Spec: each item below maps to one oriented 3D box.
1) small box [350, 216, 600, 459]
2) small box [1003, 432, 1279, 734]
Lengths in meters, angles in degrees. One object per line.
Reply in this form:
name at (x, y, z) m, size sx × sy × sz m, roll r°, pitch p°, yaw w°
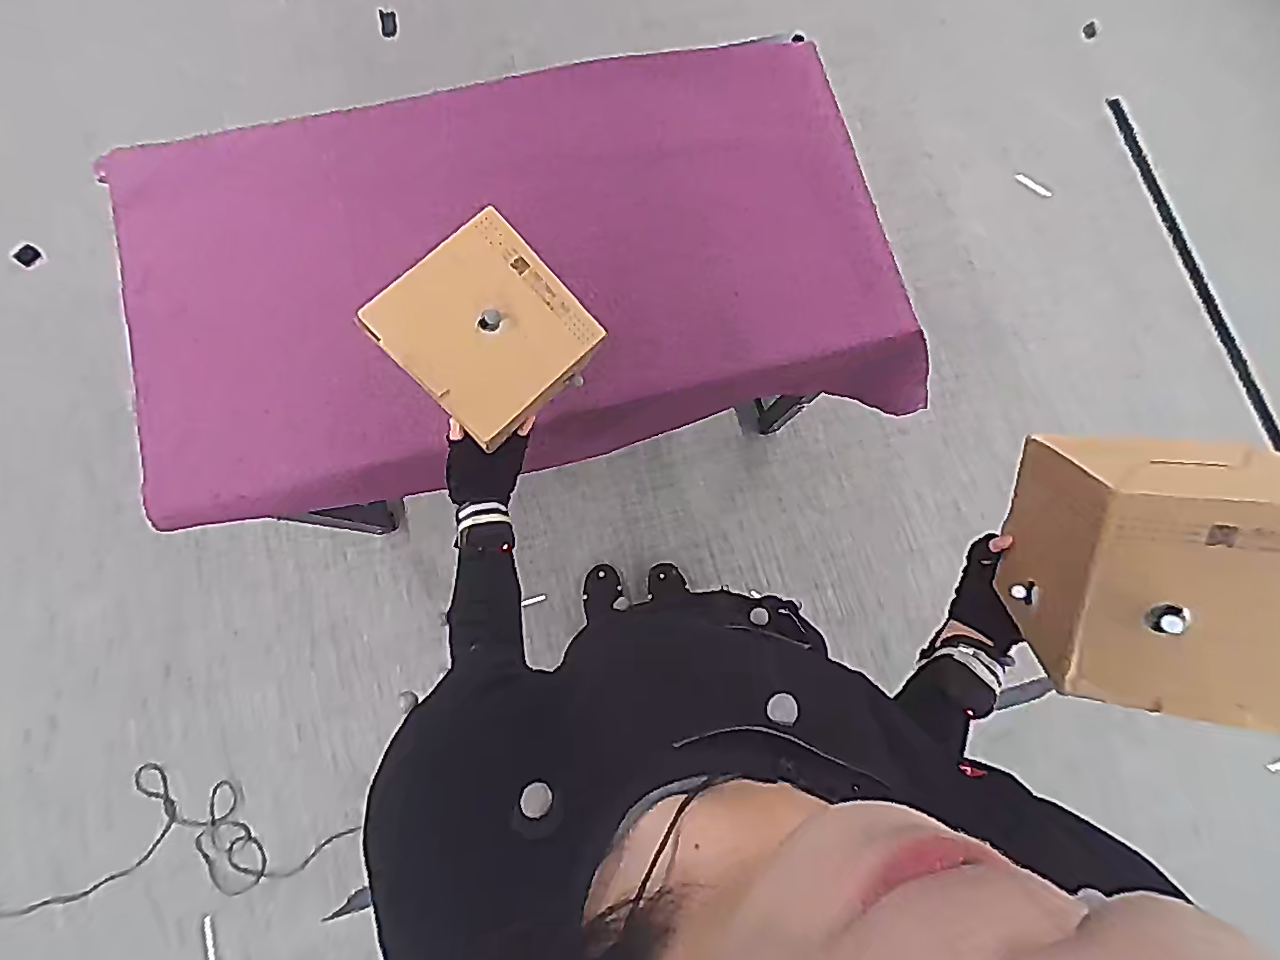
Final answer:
small box at (-0.163, -0.140, 0.579) m, size 0.176 × 0.179 × 0.168 m, roll -44°, pitch 99°, yaw -10°
small box at (0.413, 0.062, 0.418) m, size 0.168 × 0.179 × 0.176 m, roll 6°, pitch 110°, yaw 17°
